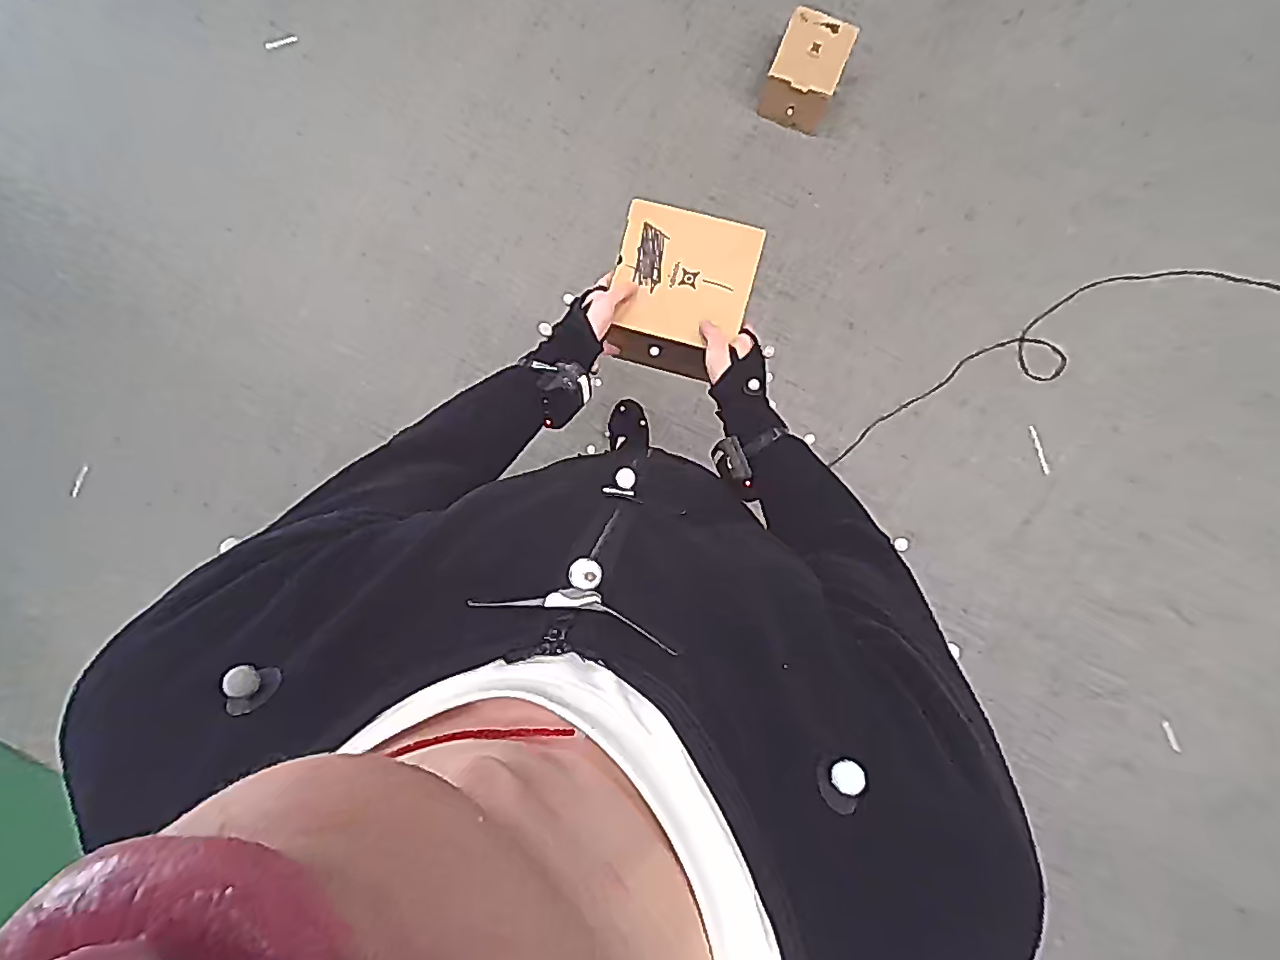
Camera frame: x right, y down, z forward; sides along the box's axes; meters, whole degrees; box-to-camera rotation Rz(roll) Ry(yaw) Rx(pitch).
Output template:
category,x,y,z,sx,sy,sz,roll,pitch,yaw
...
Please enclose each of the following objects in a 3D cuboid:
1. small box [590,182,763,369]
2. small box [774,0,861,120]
category,x,y,z,sx,sy,sz,roll,pitch,yaw
small box,0.049,-0.269,0.752,0.179,0.176,0.168,20,91,4
small box,0.443,-1.058,1.379,0.179,0.176,0.168,-7,91,5
